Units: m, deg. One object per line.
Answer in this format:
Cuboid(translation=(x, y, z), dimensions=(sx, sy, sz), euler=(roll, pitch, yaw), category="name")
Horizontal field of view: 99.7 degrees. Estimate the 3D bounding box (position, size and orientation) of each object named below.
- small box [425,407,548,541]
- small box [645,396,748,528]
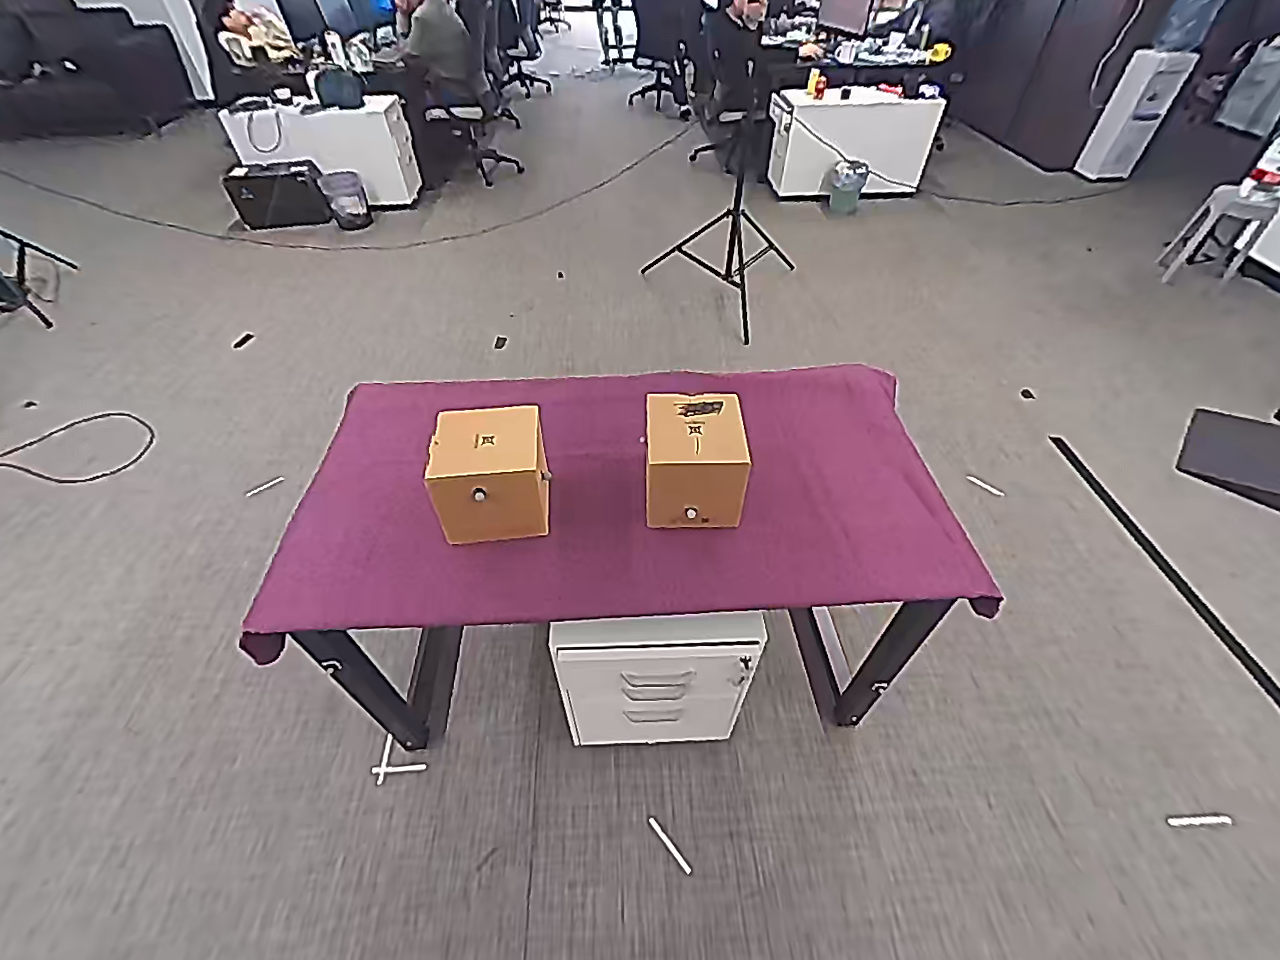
Cuboid(translation=(-0.258, -0.009, 0.958), dimensions=(0.179, 0.176, 0.168), euler=(-5, 47, -4), category="small box")
Cuboid(translation=(0.092, -0.033, 0.979), dimensions=(0.168, 0.176, 0.179), euler=(0, 48, 0), category="small box")
